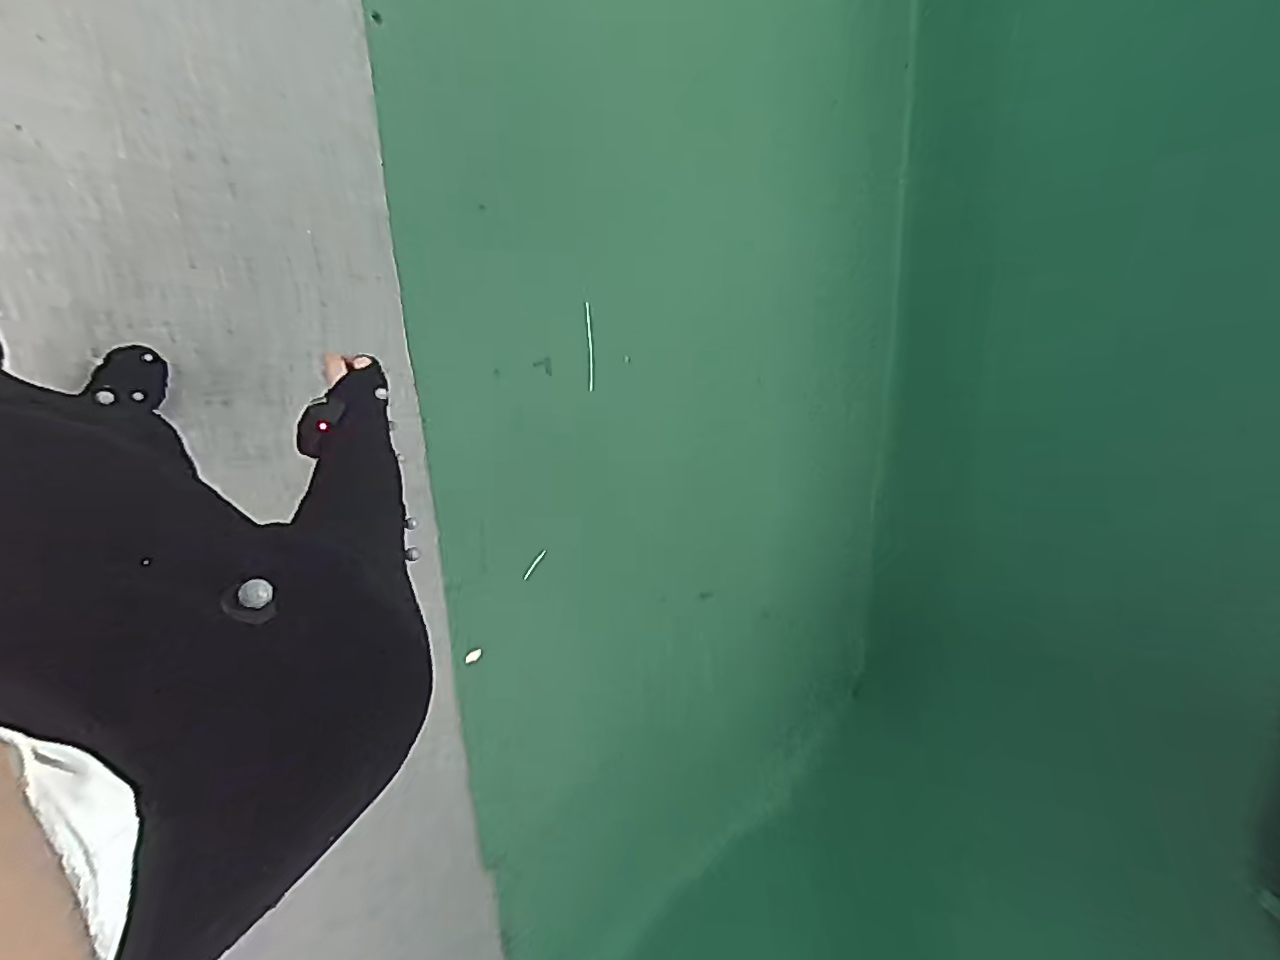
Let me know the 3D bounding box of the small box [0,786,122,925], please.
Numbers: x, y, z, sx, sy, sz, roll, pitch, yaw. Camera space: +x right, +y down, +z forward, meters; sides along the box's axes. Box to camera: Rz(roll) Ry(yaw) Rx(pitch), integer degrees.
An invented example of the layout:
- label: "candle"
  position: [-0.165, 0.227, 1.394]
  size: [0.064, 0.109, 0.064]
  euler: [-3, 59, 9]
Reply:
- label: "small box"
  position: [-1.270, 0.803, 1.183]
  size: [0.168, 0.176, 0.179]
  euler: [15, 91, -45]
